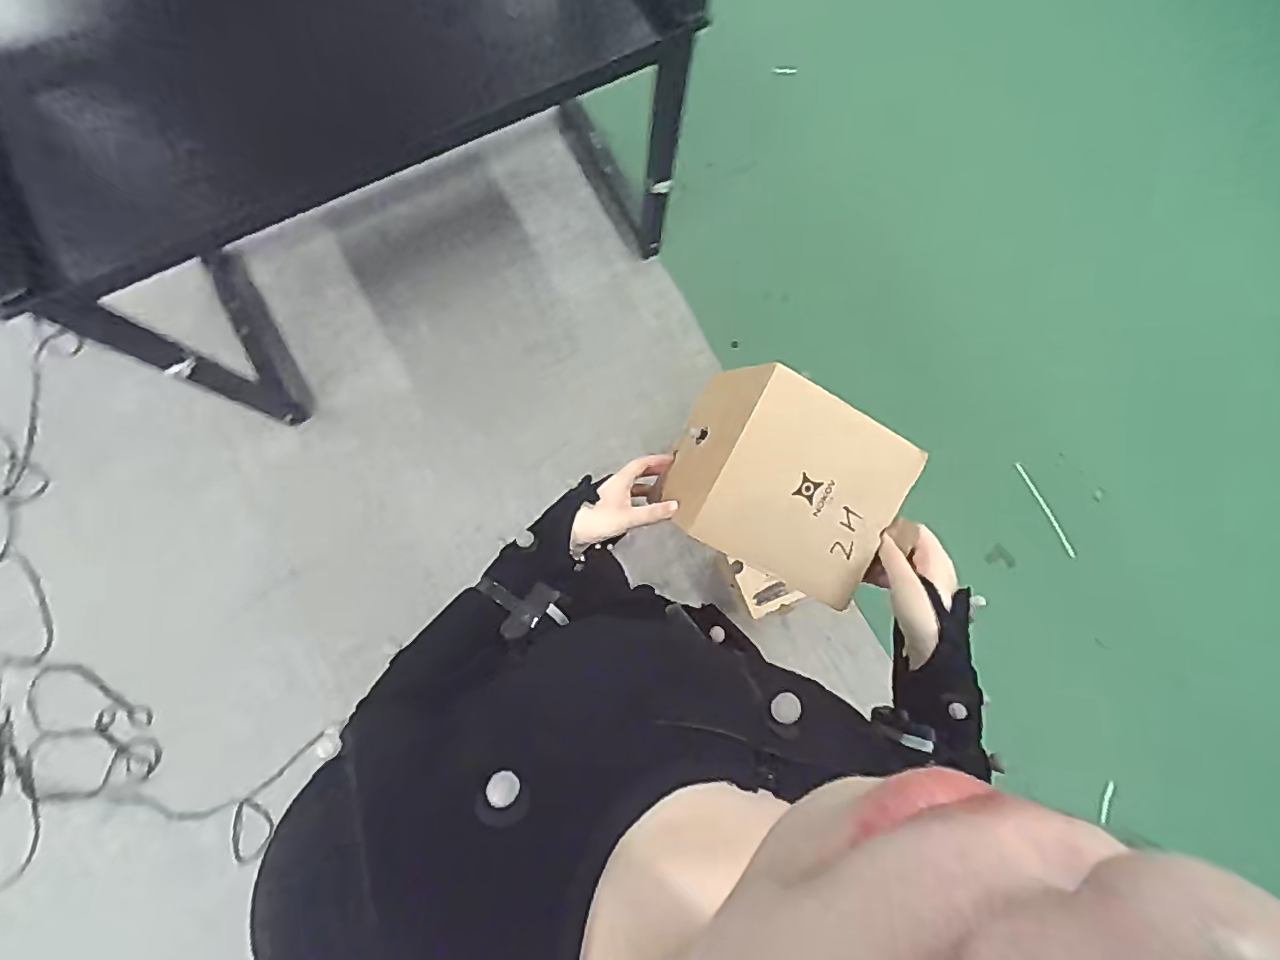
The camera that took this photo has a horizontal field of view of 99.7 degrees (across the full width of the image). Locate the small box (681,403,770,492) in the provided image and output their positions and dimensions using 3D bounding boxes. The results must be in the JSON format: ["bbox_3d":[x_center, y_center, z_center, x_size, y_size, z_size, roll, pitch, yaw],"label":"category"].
[{"bbox_3d":[0.221,-0.080,1.467,0.179,0.176,0.168,-29,84,-6],"label":"small box"}]
